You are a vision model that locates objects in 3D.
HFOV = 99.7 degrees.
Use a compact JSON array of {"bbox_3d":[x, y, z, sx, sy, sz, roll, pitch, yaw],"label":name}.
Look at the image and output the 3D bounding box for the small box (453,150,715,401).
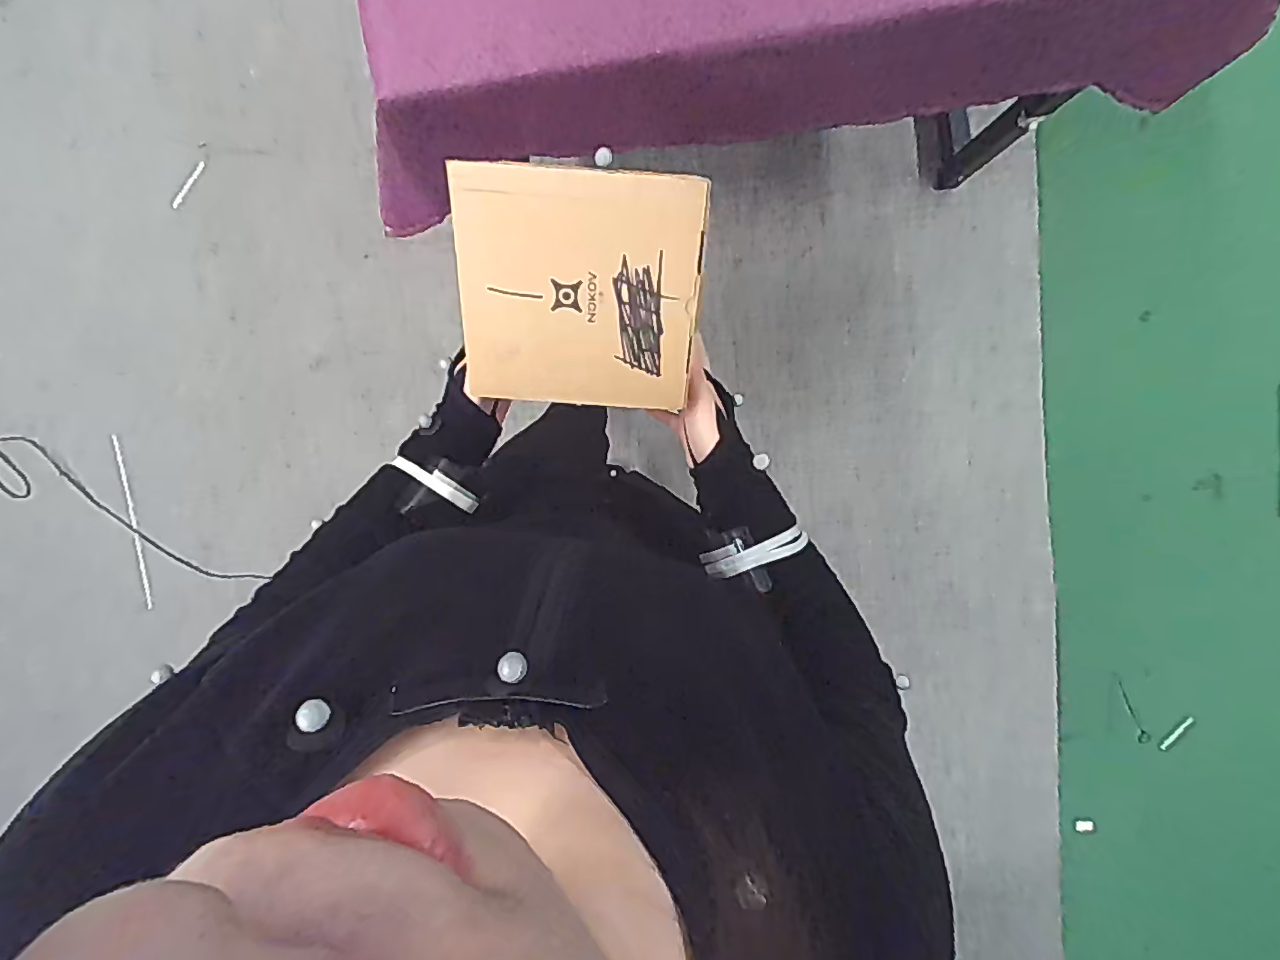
[{"bbox_3d":[-0.040,-0.180,0.461,0.179,0.176,0.168,5,120,0],"label":"small box"}]
